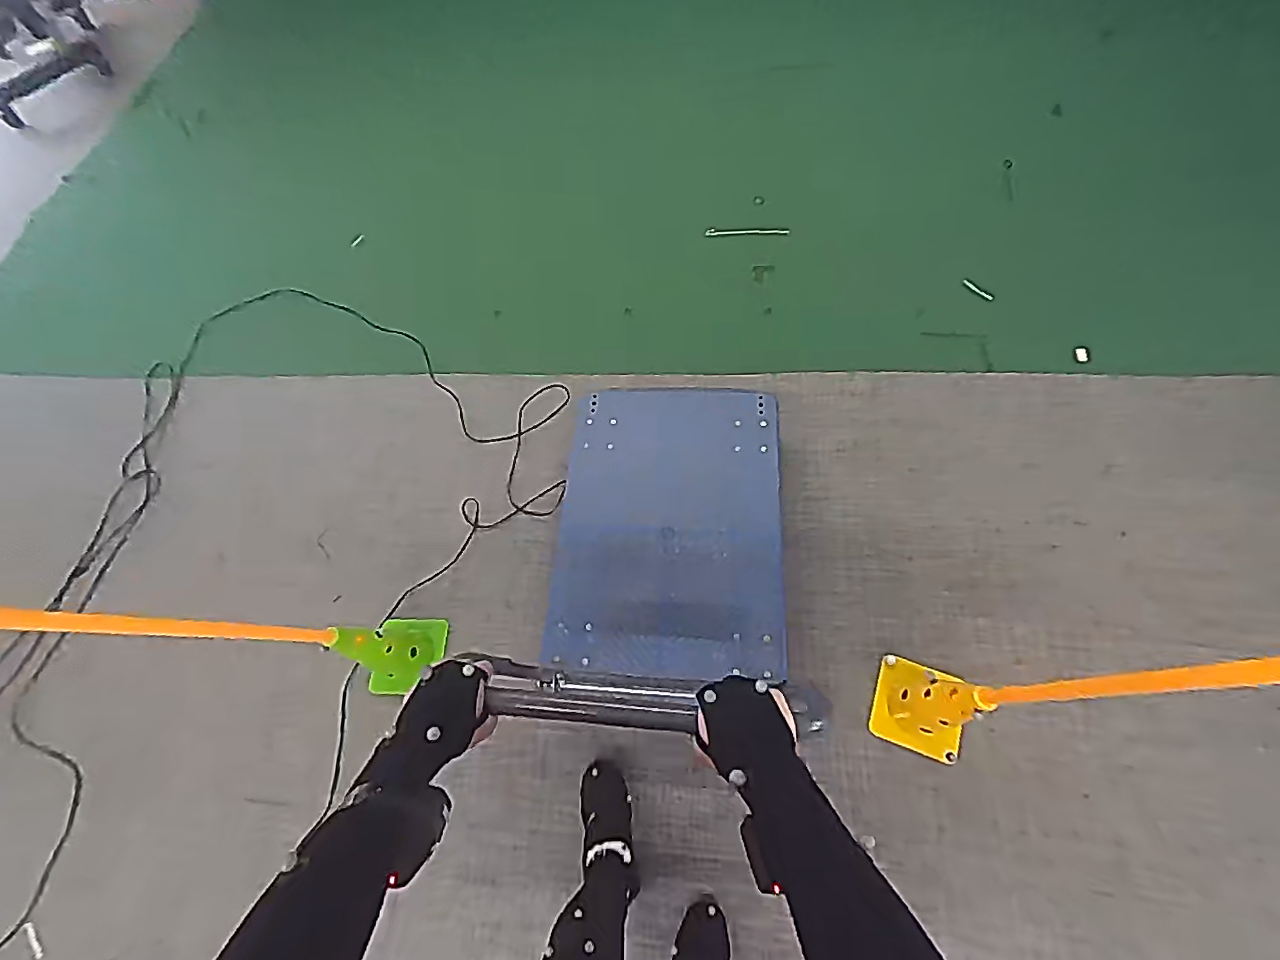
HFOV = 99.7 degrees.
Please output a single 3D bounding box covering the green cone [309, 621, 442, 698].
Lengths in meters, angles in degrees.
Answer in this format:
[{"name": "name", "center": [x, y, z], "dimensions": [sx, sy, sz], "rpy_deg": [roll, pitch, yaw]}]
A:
[{"name": "green cone", "center": [-0.669, 0.416, 1.327], "dimensions": [0.202, 0.368, 0.200], "rpy_deg": [-3, 64, 7]}]
